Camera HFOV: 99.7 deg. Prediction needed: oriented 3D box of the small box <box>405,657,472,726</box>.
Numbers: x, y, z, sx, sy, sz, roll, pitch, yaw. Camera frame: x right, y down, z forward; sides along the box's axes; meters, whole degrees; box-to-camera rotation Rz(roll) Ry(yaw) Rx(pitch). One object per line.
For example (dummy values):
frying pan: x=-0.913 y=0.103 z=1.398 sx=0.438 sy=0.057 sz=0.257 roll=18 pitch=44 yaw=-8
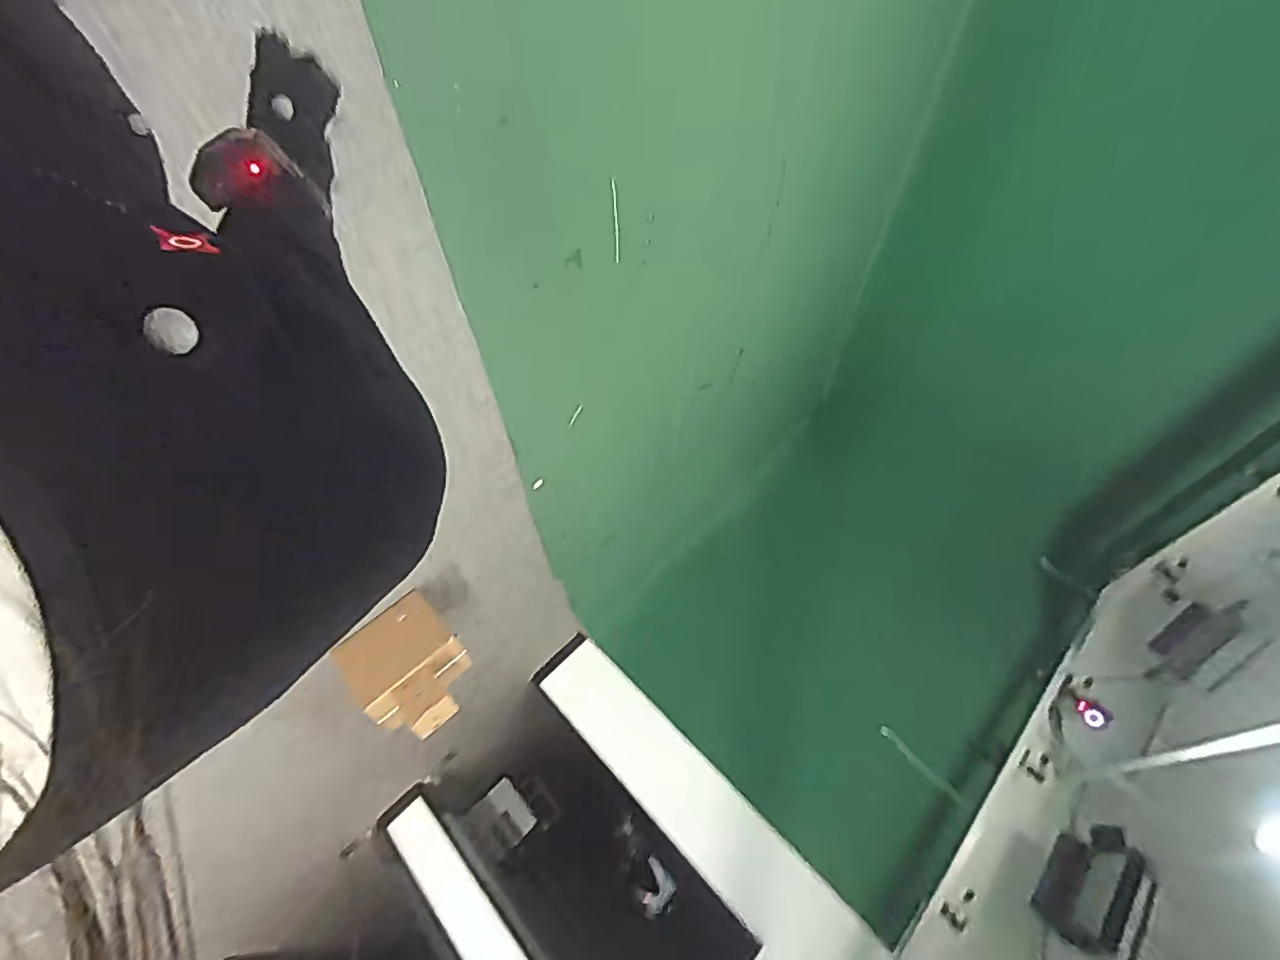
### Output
small box: x=-0.804 y=0.836 z=2.155 sx=0.168 sy=0.176 sz=0.179 roll=-37 pitch=149 yaw=-26
